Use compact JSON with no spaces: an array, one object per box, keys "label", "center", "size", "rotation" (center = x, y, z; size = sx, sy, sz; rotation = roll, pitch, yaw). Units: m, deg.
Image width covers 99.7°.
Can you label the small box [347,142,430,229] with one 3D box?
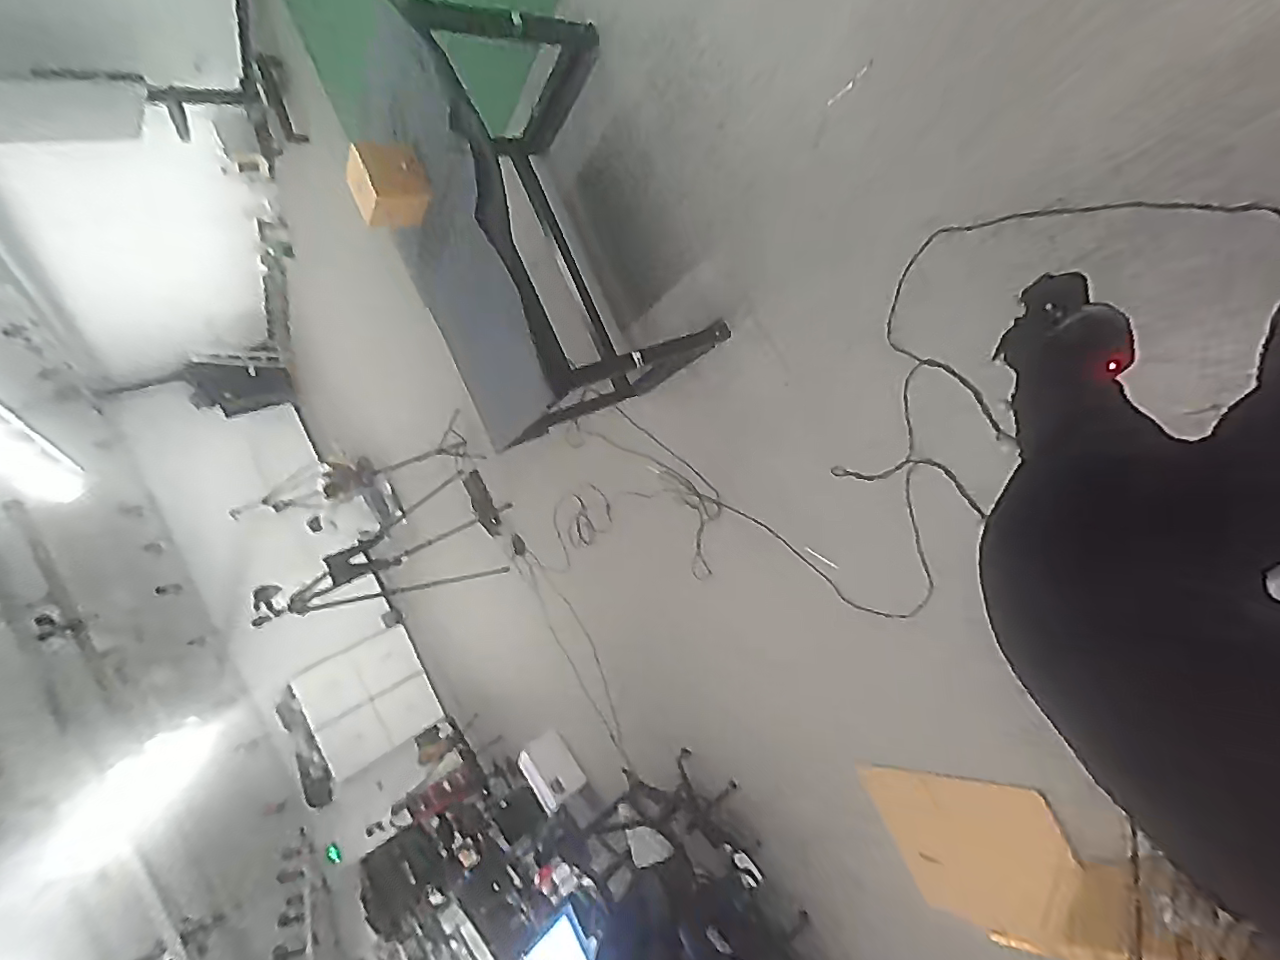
[{"label":"small box","center":[-0.756,-0.883,1.629],"size":[0.179,0.176,0.168],"rotation":[-16,98,54]}]
